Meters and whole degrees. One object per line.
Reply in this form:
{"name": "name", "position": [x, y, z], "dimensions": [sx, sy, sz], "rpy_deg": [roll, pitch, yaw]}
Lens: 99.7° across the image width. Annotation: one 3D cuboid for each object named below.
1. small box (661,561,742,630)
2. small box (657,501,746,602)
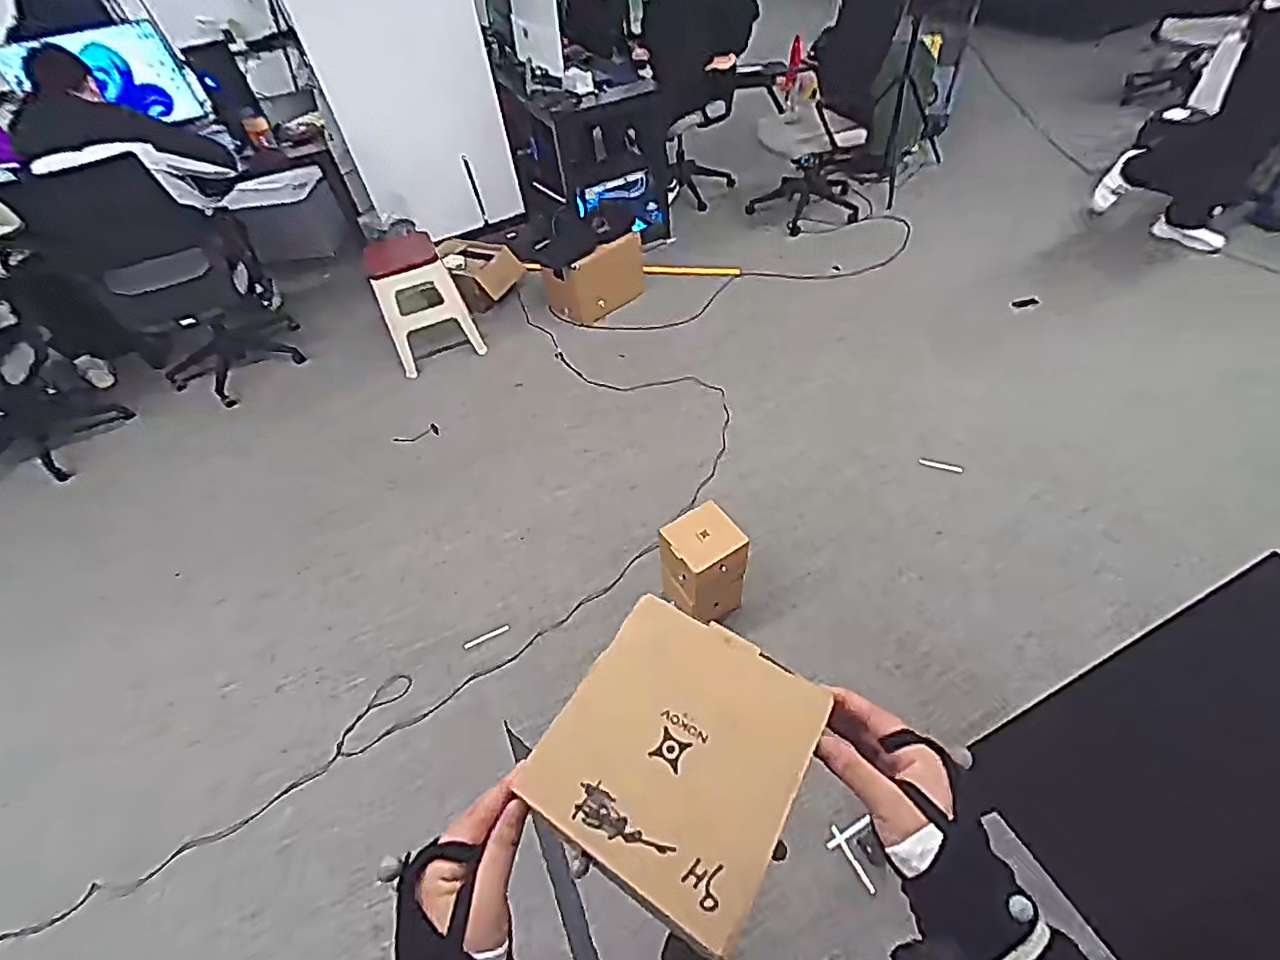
{"name": "small box", "position": [0.176, 0.305, 1.582], "dimensions": [0.179, 0.176, 0.168], "rpy_deg": [-27, 52, -15]}
{"name": "small box", "position": [0.167, 0.197, 1.460], "dimensions": [0.179, 0.176, 0.168], "rpy_deg": [-28, 53, -17]}
